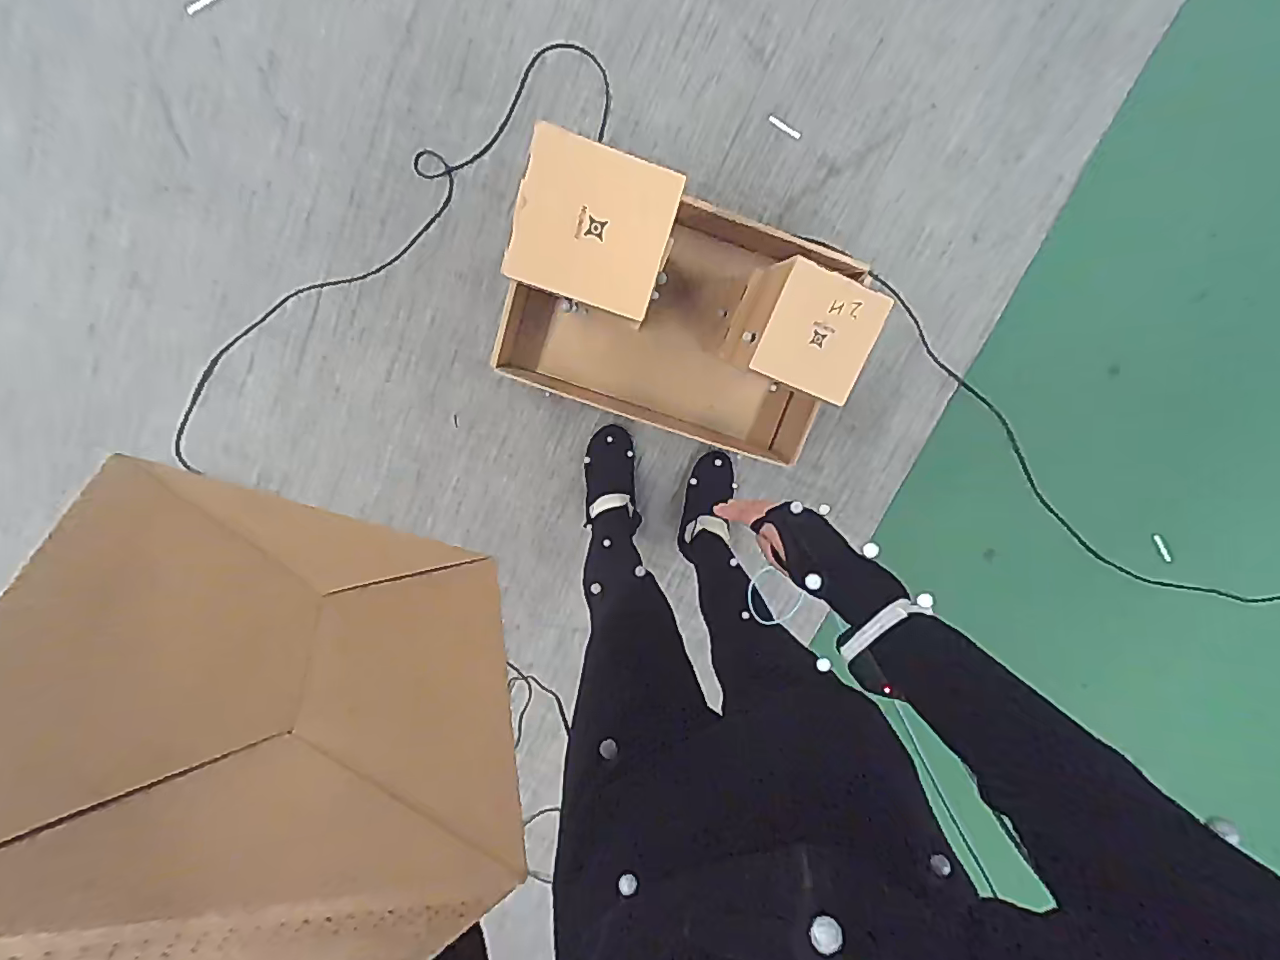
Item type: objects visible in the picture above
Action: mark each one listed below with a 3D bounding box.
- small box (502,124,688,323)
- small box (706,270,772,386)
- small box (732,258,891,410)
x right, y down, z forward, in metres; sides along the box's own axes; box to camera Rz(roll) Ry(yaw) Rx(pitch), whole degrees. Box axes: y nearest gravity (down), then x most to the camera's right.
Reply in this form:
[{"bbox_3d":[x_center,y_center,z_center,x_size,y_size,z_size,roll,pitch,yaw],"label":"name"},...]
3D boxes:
[{"bbox_3d":[-0.054,-0.309,0.689,0.179,0.176,0.168,17,105,-6],"label":"small box"},{"bbox_3d":[0.244,-0.281,1.045,0.179,0.176,0.168,22,102,-7],"label":"small box"},{"bbox_3d":[0.264,-0.234,0.888,0.168,0.176,0.179,21,102,-9],"label":"small box"}]
